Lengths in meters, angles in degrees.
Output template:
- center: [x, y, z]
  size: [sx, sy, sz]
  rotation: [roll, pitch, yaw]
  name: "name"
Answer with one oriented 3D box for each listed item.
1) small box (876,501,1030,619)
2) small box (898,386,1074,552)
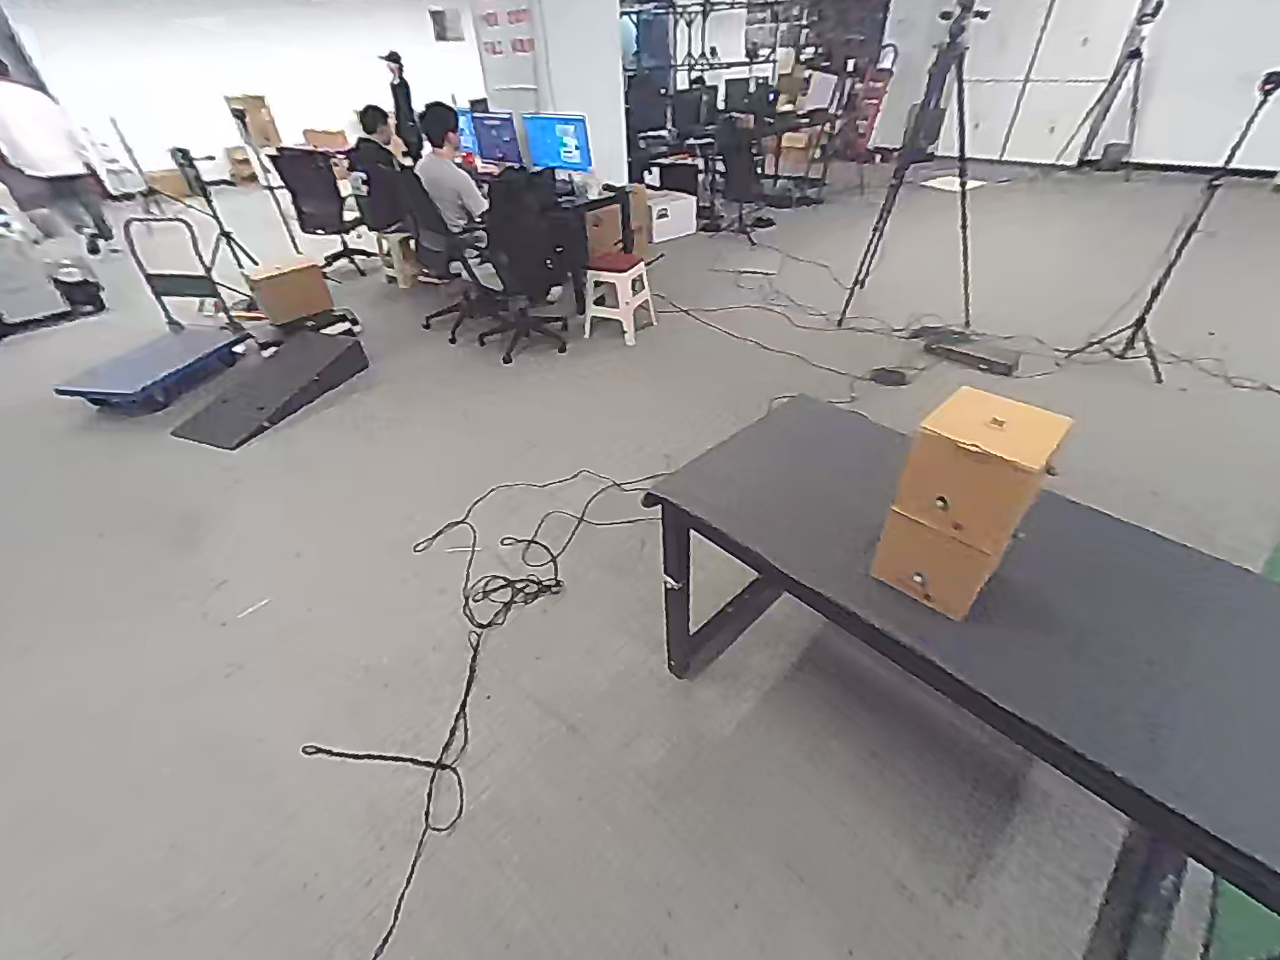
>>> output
- center: [0.545, 0.107, 0.961]
  size: [0.179, 0.176, 0.168]
  rotation: [-32, 46, -32]
  name: "small box"
- center: [0.539, -0.021, 0.861]
  size: [0.179, 0.176, 0.168]
  rotation: [-33, 47, -32]
  name: "small box"
